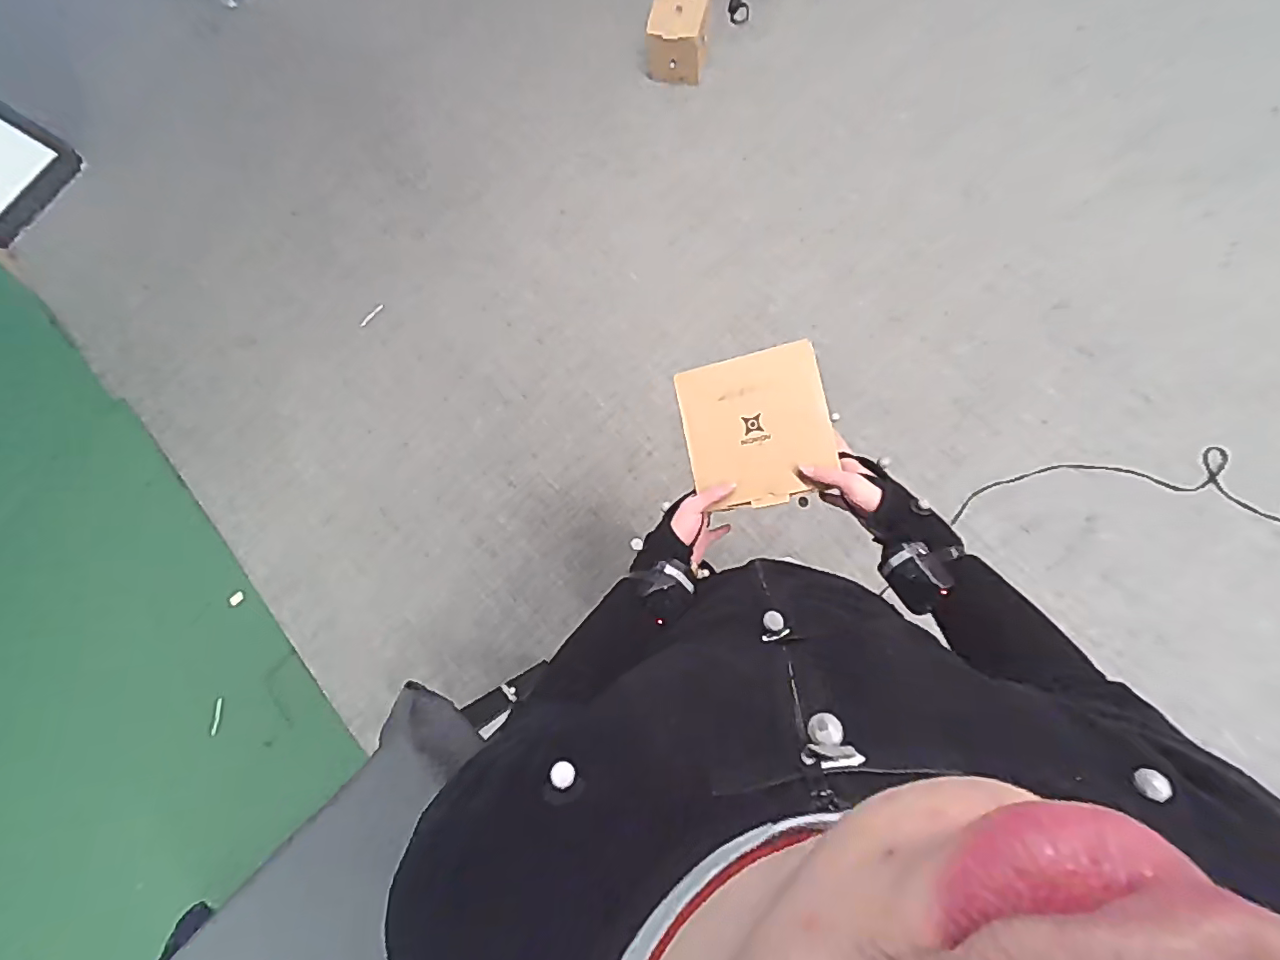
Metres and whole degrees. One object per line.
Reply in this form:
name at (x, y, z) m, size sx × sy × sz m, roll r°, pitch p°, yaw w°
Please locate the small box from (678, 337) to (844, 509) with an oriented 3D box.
small box at (0.162, -0.064, 0.715) m, size 0.168 × 0.176 × 0.179 m, roll -14°, pitch 84°, yaw 15°
